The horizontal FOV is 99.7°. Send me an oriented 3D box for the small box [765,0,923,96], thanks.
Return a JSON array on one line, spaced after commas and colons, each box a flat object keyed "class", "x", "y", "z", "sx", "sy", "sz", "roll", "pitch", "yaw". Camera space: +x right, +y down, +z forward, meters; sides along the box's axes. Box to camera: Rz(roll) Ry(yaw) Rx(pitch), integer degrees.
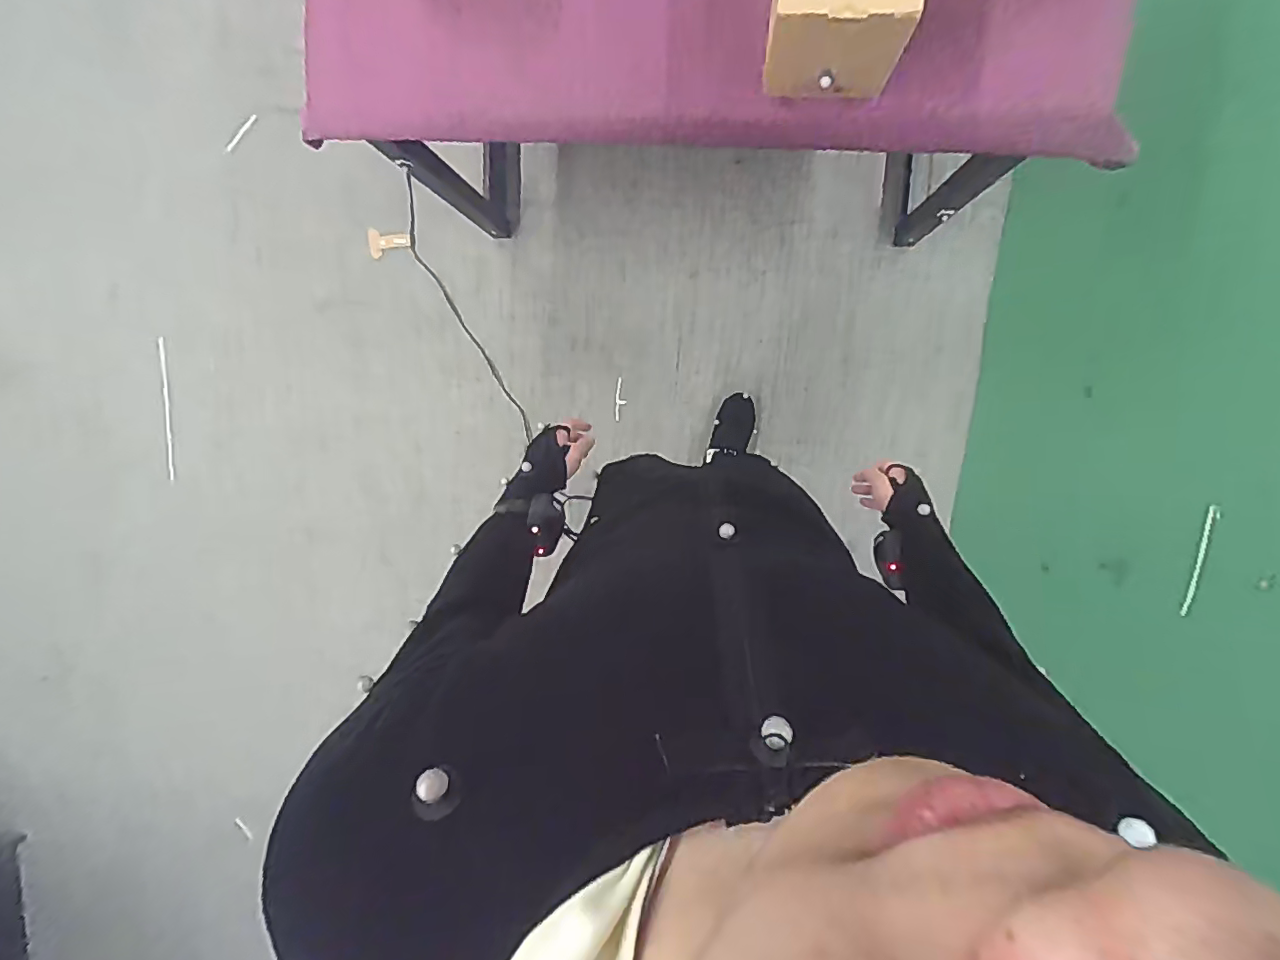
[{"class": "small box", "x": 0.258, "y": -0.637, "z": 0.692, "sx": 0.168, "sy": 0.176, "sz": 0.179, "roll": 6, "pitch": 98, "yaw": 6}]
